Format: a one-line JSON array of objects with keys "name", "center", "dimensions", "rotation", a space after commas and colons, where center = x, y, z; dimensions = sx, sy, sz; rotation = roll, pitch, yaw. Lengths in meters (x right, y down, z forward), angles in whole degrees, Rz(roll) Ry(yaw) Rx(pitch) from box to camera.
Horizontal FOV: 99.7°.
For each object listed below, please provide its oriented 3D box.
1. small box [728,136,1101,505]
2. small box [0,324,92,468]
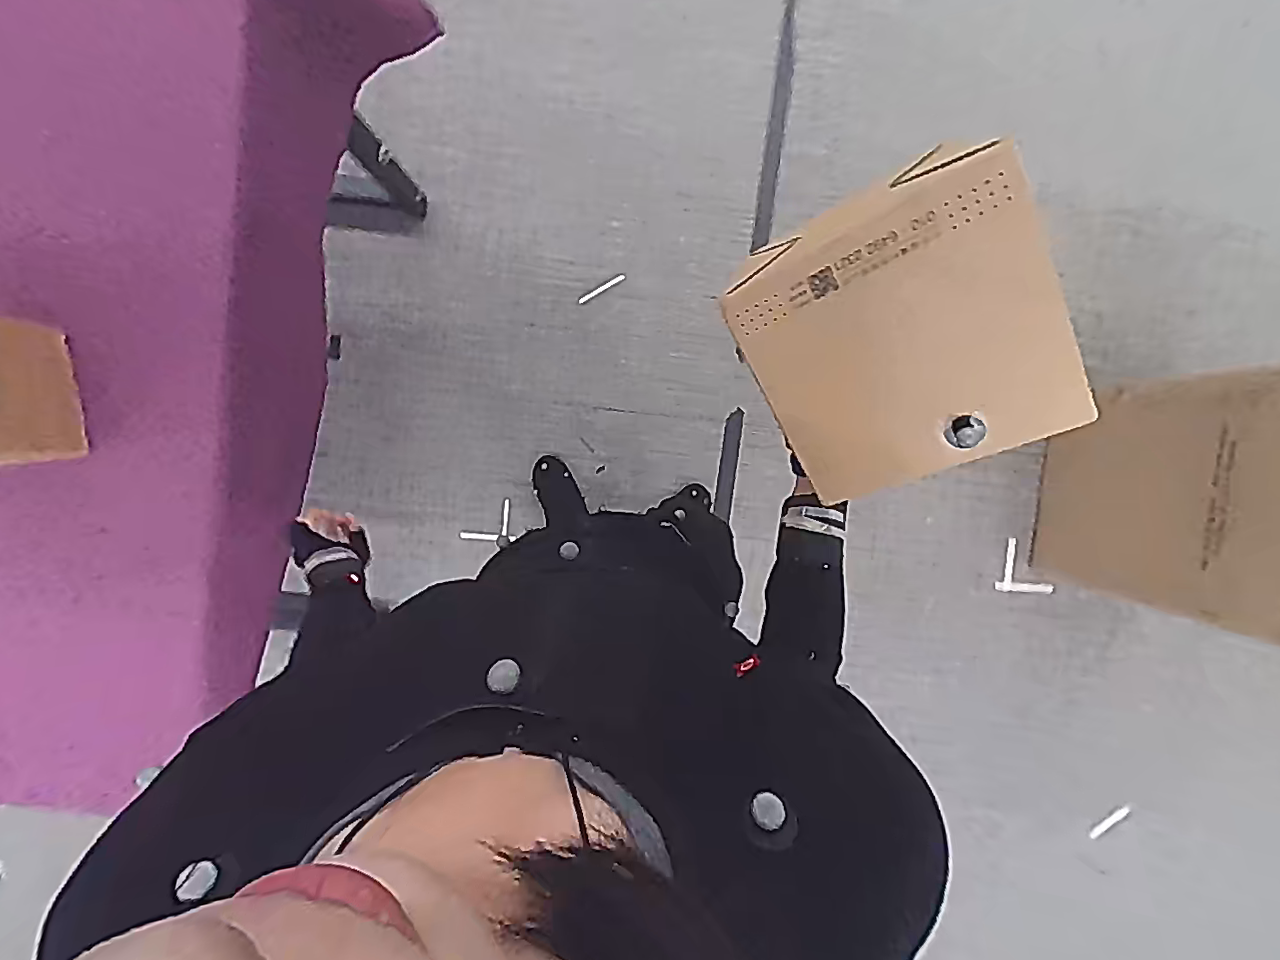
[{"name": "small box", "center": [0.181, -0.116, 0.387], "dimensions": [0.168, 0.179, 0.176], "rotation": [-22, 111, 29]}, {"name": "small box", "center": [-0.853, -0.102, 0.676], "dimensions": [0.168, 0.176, 0.179], "rotation": [-8, 93, -2]}]
